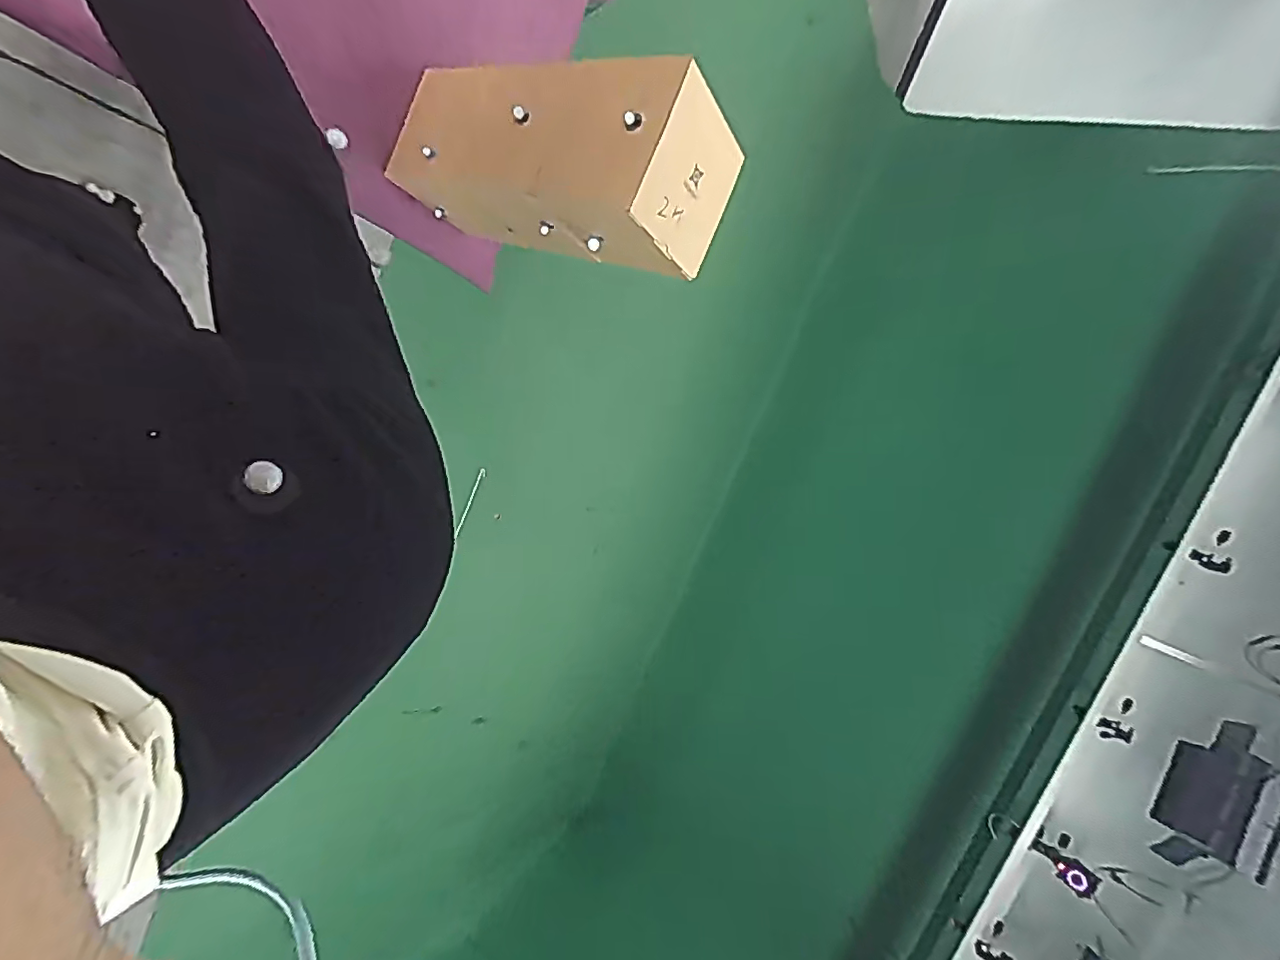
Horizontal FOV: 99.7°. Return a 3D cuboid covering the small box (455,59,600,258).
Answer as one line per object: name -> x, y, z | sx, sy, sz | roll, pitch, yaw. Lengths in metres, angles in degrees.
small box -> -0.131, -0.449, 0.768 | 0.168, 0.176, 0.179 | 18, 96, -58

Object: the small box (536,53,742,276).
small box -> -0.002, -0.391, 0.682 | 0.168, 0.176, 0.179 | 17, 99, -58
